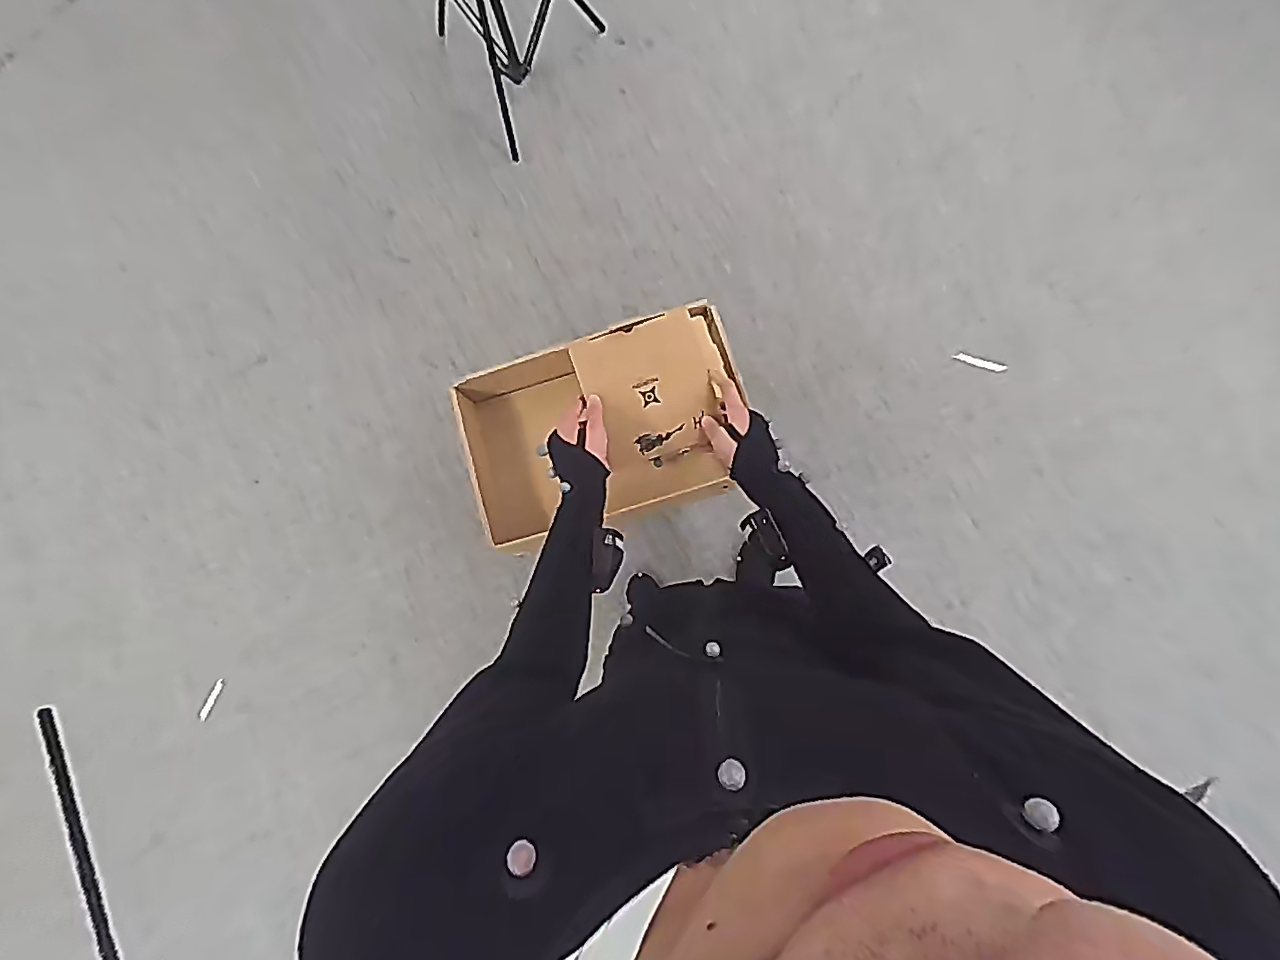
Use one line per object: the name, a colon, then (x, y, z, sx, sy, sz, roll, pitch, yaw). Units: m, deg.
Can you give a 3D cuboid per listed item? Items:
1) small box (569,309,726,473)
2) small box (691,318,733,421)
small box: (0.010, -0.118, 0.774, 0.168, 0.176, 0.179, -18, 94, 3)
small box: (0.065, -0.175, 1.038, 0.179, 0.176, 0.168, -21, 80, 2)
